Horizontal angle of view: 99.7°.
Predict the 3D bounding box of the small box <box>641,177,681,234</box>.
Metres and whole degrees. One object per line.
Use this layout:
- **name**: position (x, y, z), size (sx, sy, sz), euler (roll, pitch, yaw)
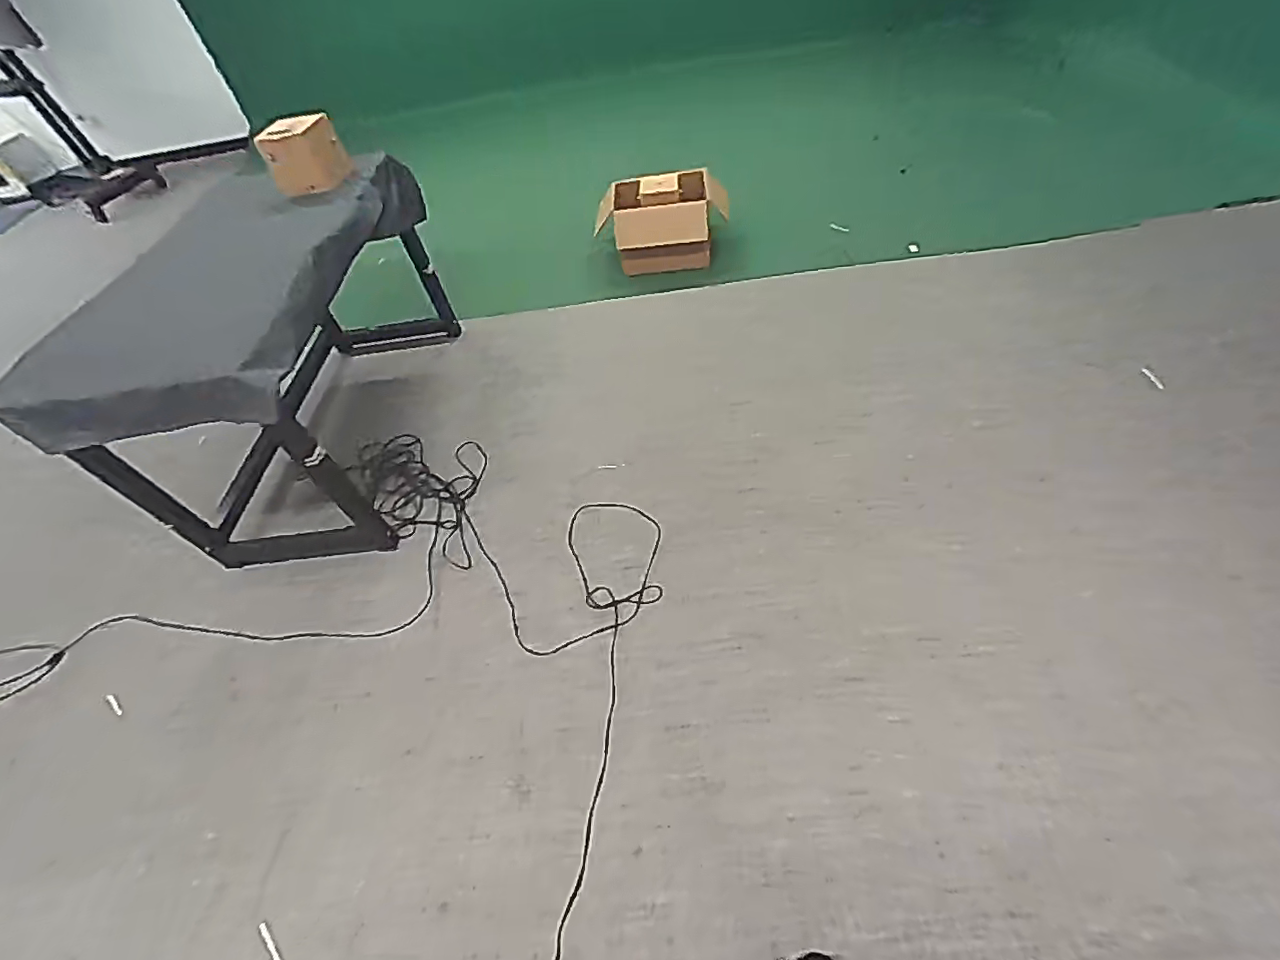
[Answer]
- **small box**: position (0.096, -1.213, 2.395), size (0.168, 0.176, 0.179), euler (-3, 50, 7)
